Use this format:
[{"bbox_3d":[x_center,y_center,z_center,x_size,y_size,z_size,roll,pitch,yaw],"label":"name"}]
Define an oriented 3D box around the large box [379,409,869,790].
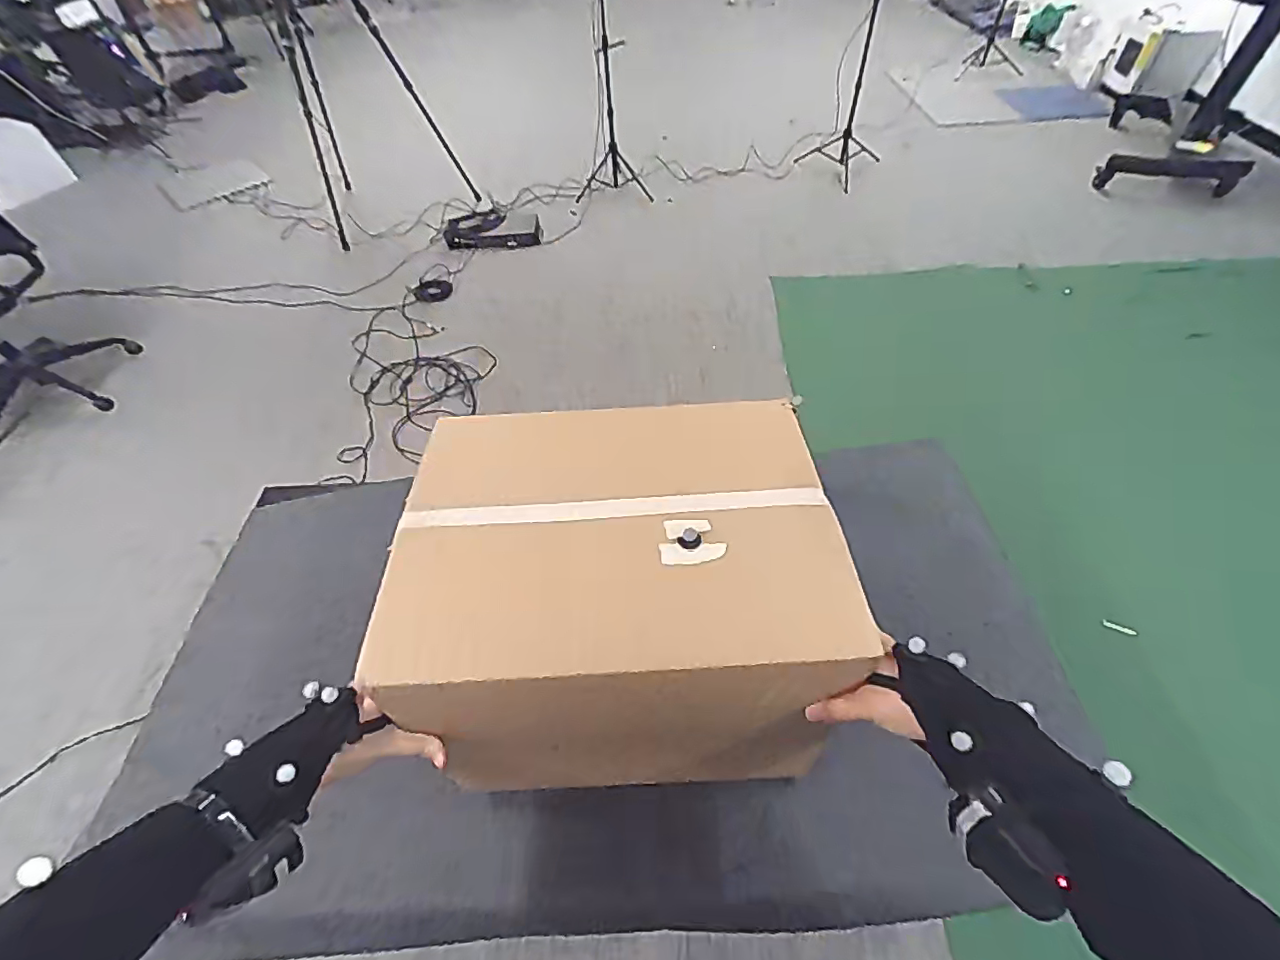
[{"bbox_3d":[-0.017,0.143,0.638,0.408,0.320,0.320,-4,48,-1],"label":"large box"}]
